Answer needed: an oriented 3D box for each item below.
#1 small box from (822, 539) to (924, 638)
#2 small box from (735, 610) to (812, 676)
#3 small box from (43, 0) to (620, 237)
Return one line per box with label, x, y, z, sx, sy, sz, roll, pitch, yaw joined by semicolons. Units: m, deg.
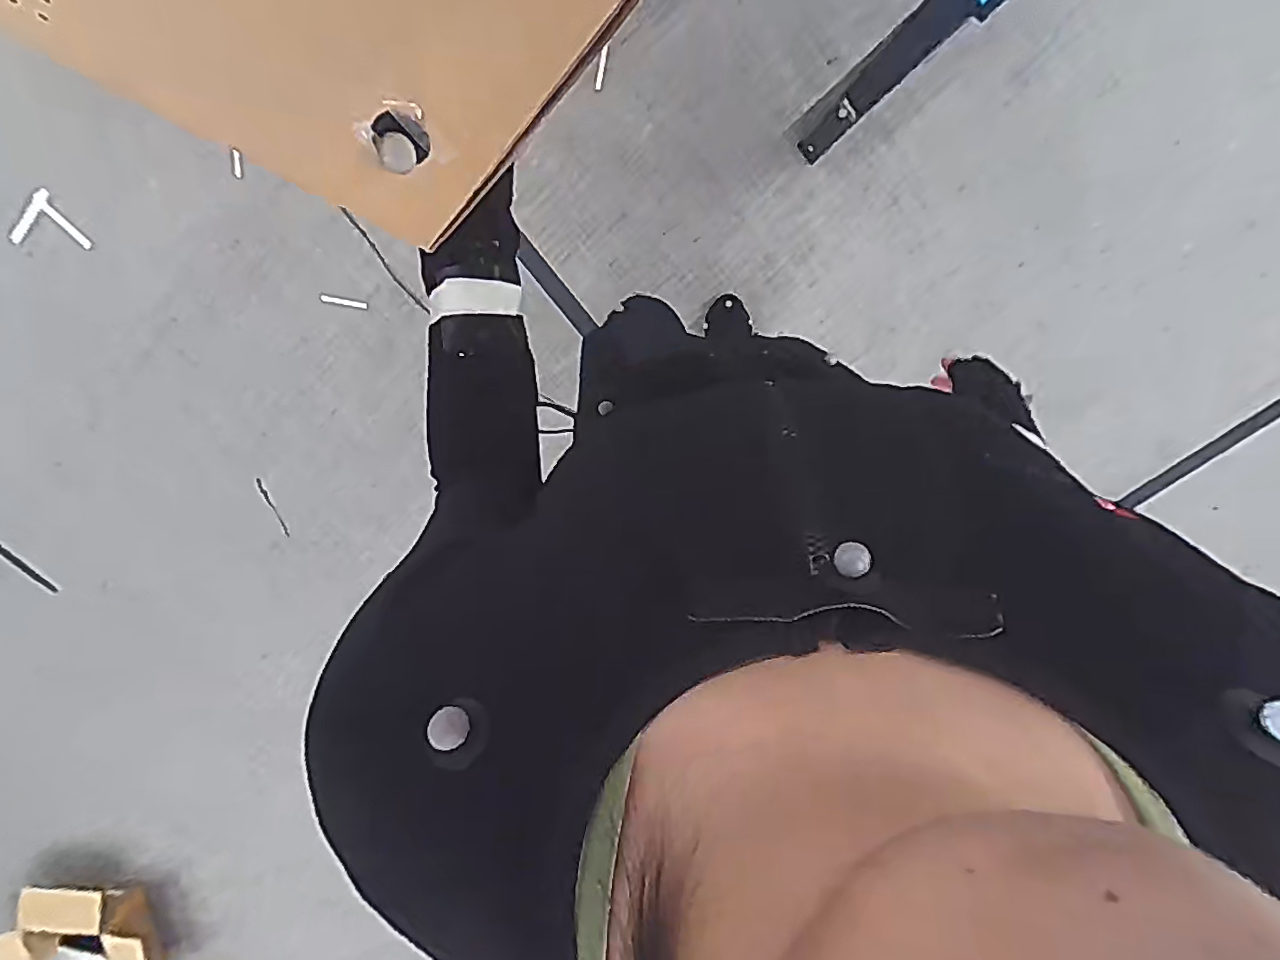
small box;0.642;0.296;1.512;0.179;0.176;0.168;-43;102;15
small box;0.393;0.522;1.599;0.179;0.176;0.168;-34;105;14
small box;-0.119;-0.246;0.208;0.179;0.176;0.168;-31;61;33
